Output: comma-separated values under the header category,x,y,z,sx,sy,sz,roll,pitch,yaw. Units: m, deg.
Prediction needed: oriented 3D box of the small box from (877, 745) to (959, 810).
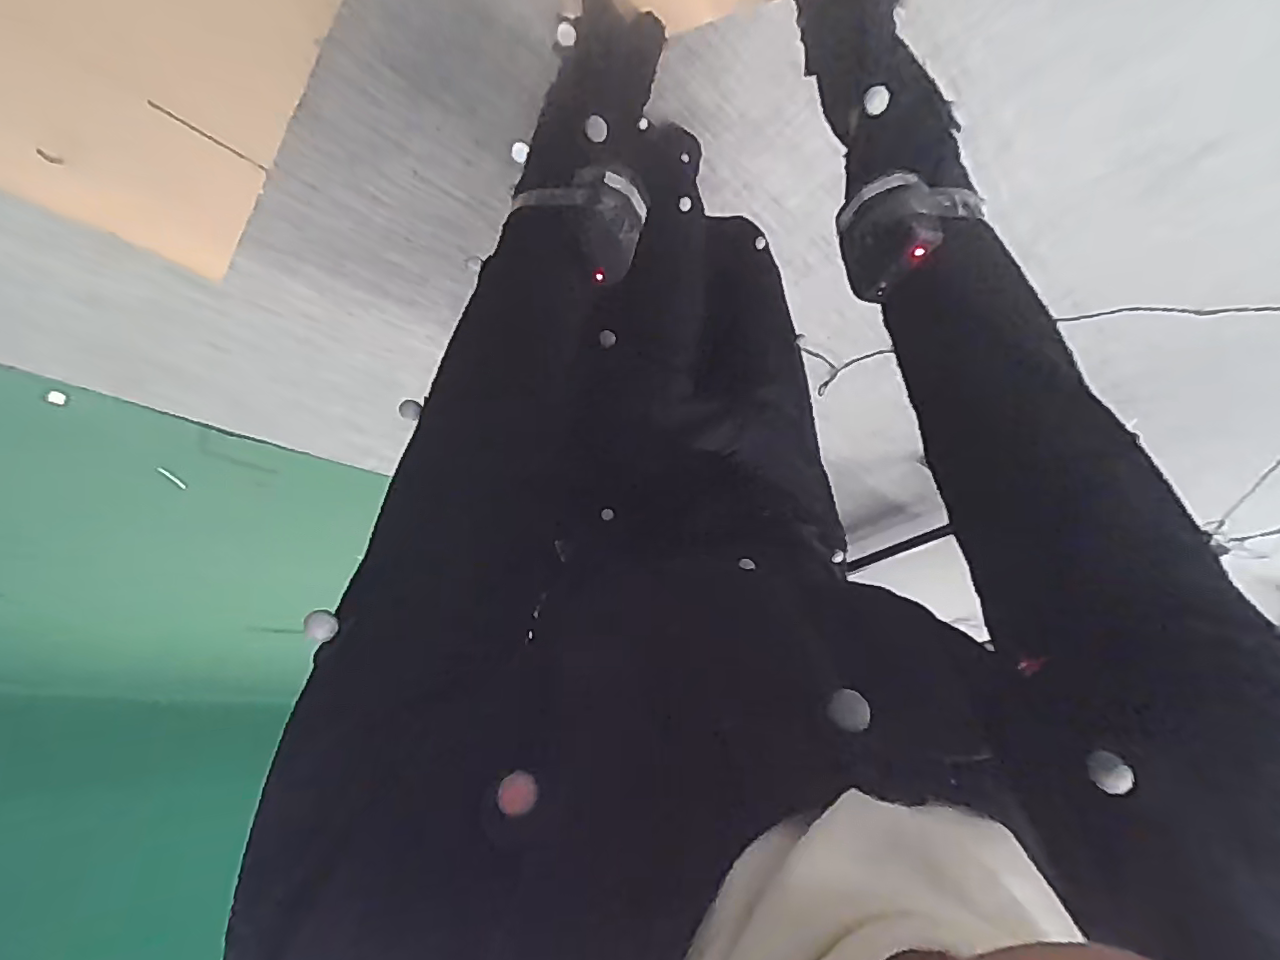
category,x,y,z,sx,sy,sz,roll,pitch,yaw
small box,0.943,1.013,1.846,0.179,0.176,0.168,18,141,-37
